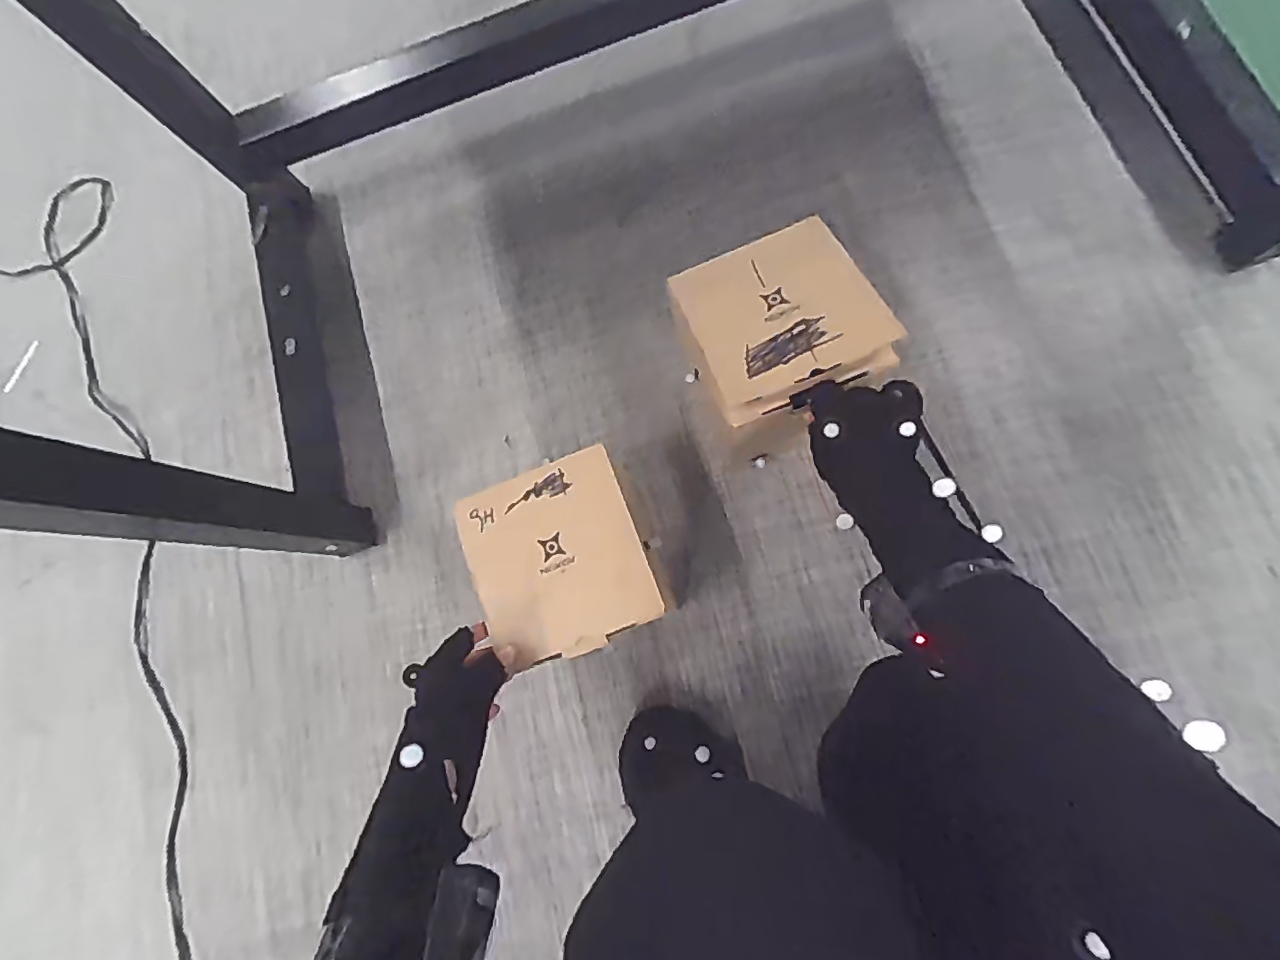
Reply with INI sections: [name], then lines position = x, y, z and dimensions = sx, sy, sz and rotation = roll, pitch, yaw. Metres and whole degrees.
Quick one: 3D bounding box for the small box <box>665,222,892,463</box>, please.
[small box]
position = 0.143, -0.132, 0.597
dimensions = 0.168, 0.176, 0.179
rotation = -23, 72, 4
